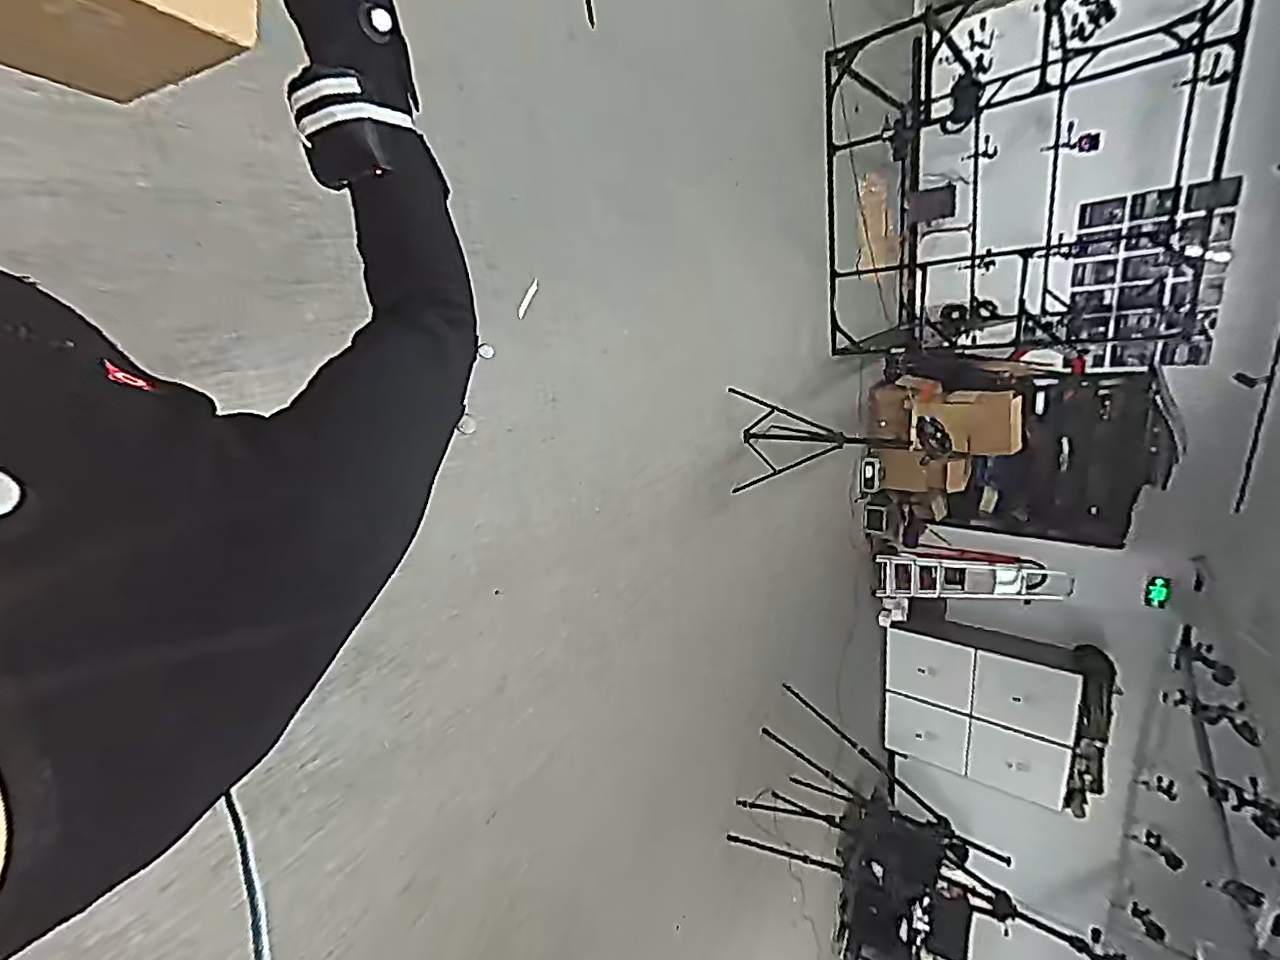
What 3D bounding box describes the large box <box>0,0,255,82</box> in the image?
[{"bbox_3d":[-0.477,-0.458,0.246,0.408,0.320,0.320,-13,117,-54],"label":"large box"}]
